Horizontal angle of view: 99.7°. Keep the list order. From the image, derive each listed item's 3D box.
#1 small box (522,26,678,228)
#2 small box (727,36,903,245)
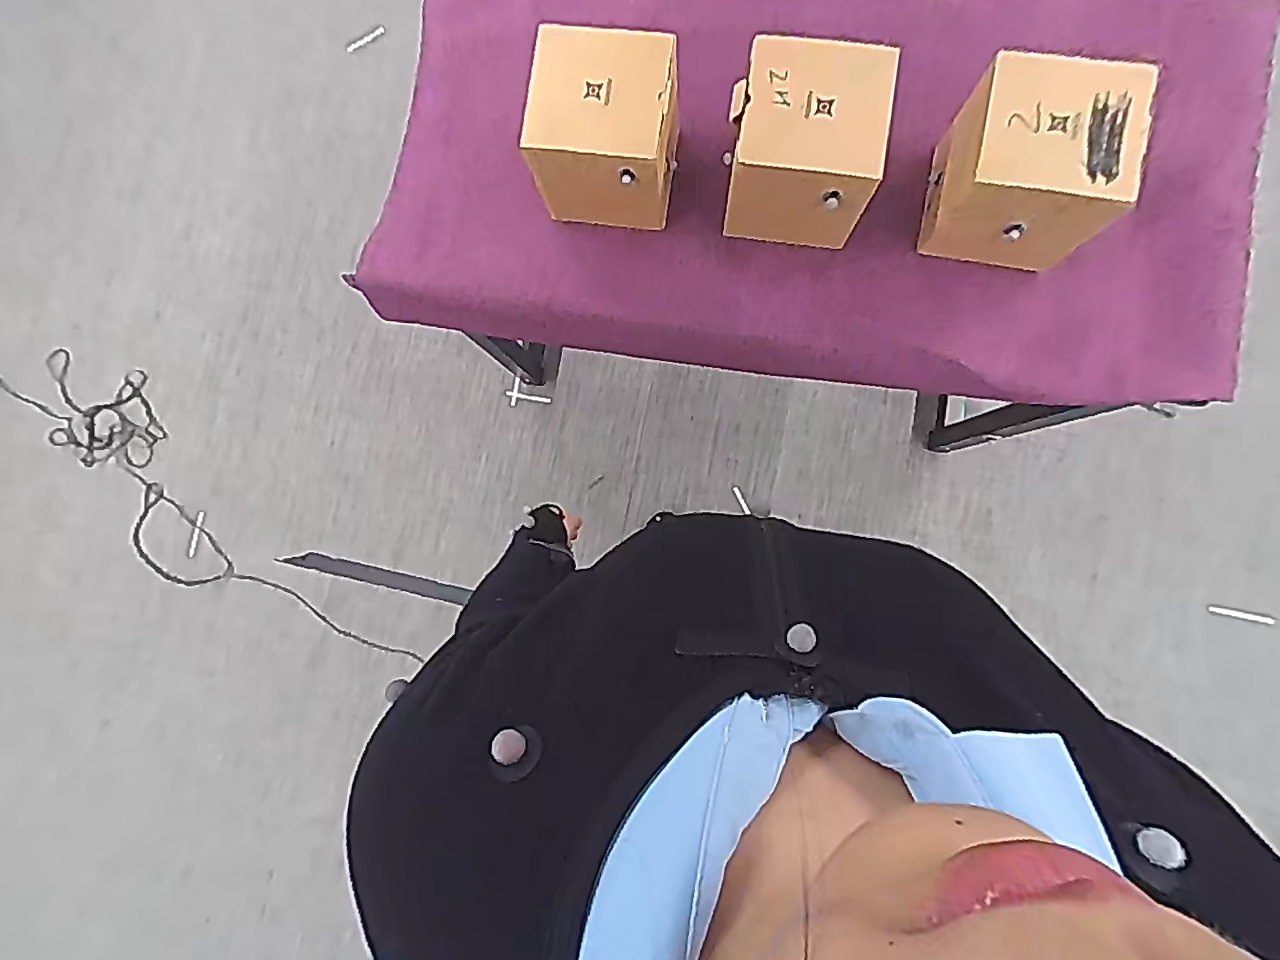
[{"bbox_3d":[-0.044,-0.473,0.747,0.179,0.176,0.168,8,87,4],"label":"small box"},{"bbox_3d":[0.219,-0.436,0.721,0.179,0.176,0.168,9,86,6],"label":"small box"}]
